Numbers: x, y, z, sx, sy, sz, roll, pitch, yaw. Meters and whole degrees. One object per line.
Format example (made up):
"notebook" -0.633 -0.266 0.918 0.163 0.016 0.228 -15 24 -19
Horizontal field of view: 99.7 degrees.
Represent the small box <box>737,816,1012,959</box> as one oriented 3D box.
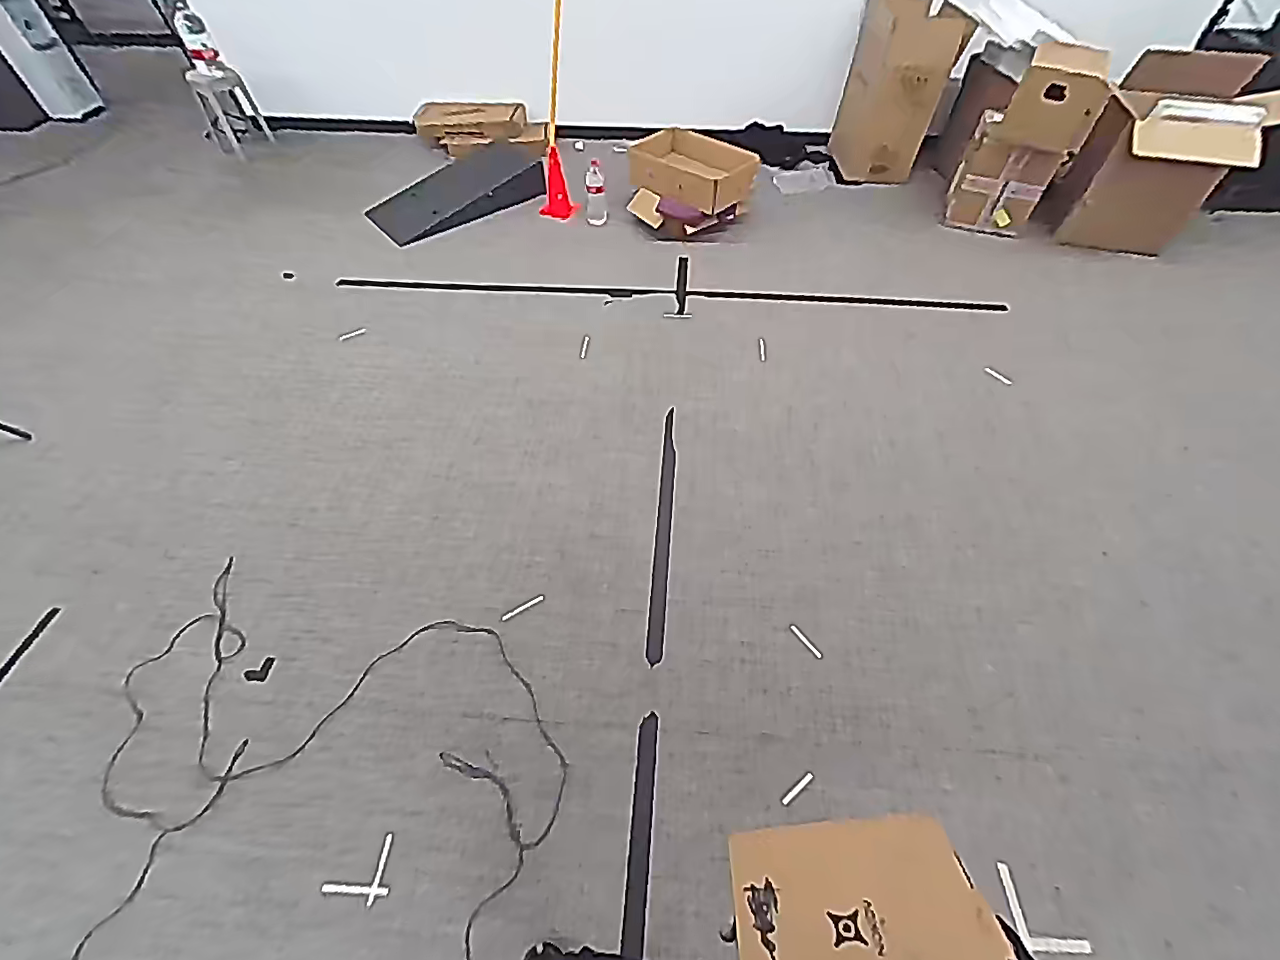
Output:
"small box" 0.178 0.397 0.414 0.179 0.176 0.168 -10 17 8
